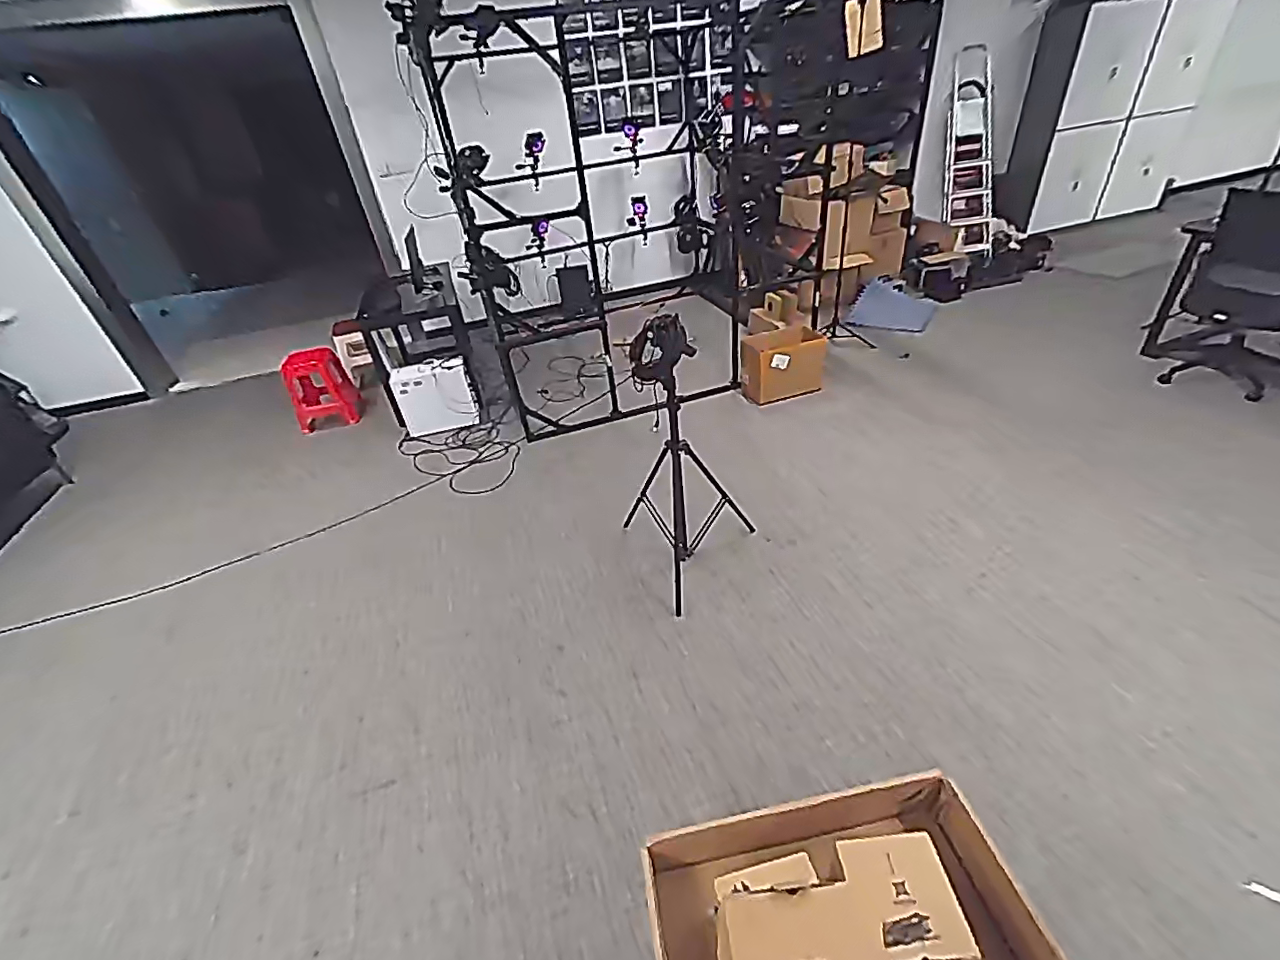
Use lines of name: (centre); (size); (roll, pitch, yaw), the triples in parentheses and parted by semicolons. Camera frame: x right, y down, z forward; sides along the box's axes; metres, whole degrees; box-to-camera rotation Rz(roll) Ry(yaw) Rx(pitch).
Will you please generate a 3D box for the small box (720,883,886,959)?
small box: (0.183, 0.587, 0.593); (0.168, 0.176, 0.179); (-5, 30, -2)
